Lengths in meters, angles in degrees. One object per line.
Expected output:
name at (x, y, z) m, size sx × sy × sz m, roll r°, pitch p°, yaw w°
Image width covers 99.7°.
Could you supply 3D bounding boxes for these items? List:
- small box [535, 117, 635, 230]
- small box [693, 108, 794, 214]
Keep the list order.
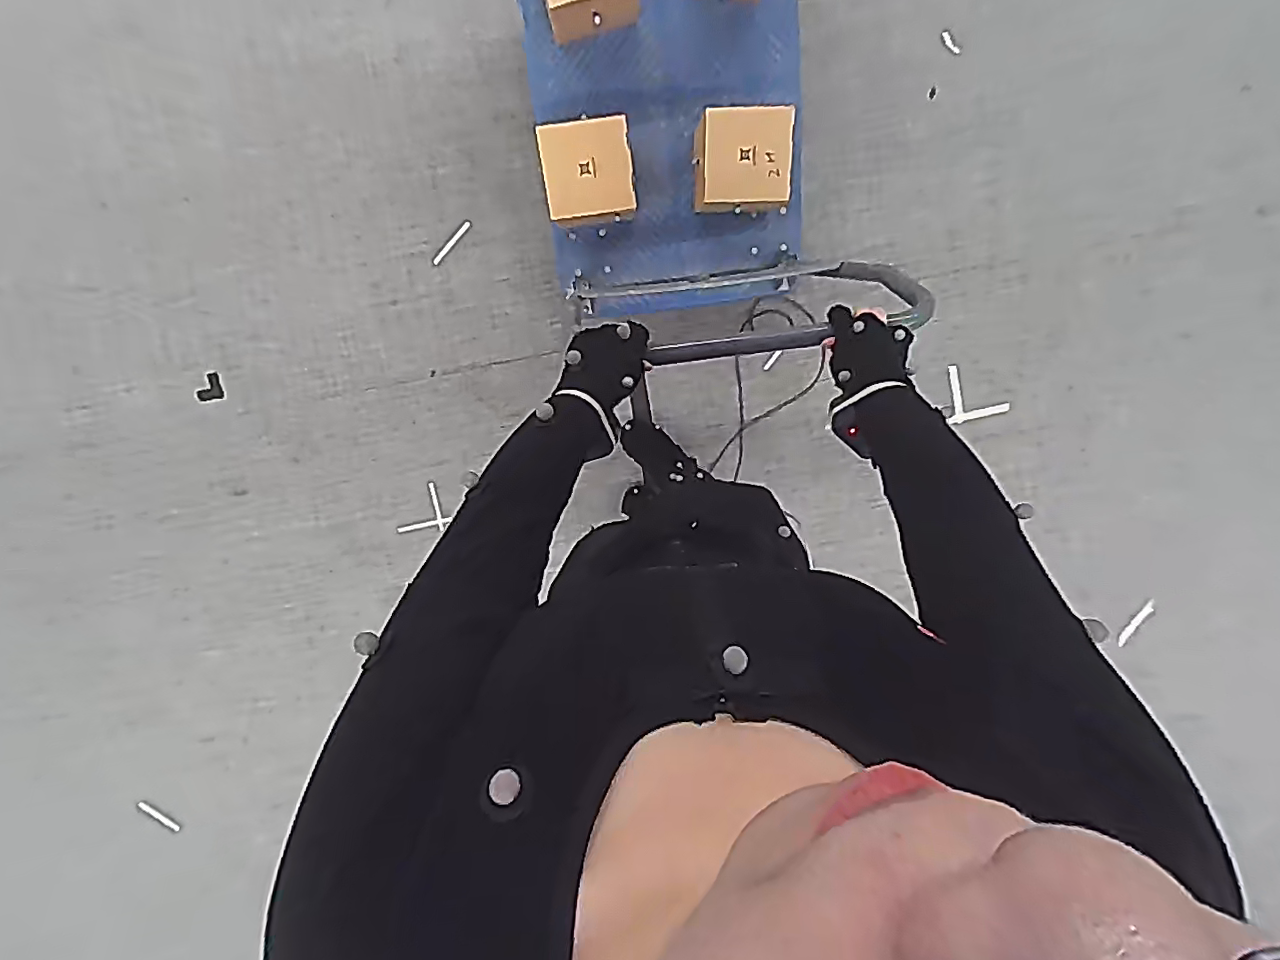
small box at (-0.110, -0.629, 1.129) m, size 0.179 × 0.176 × 0.168 m, roll -9°, pitch 110°, yaw -2°
small box at (0.207, -0.660, 1.135) m, size 0.179 × 0.176 × 0.168 m, roll -2°, pitch 110°, yaw -2°
